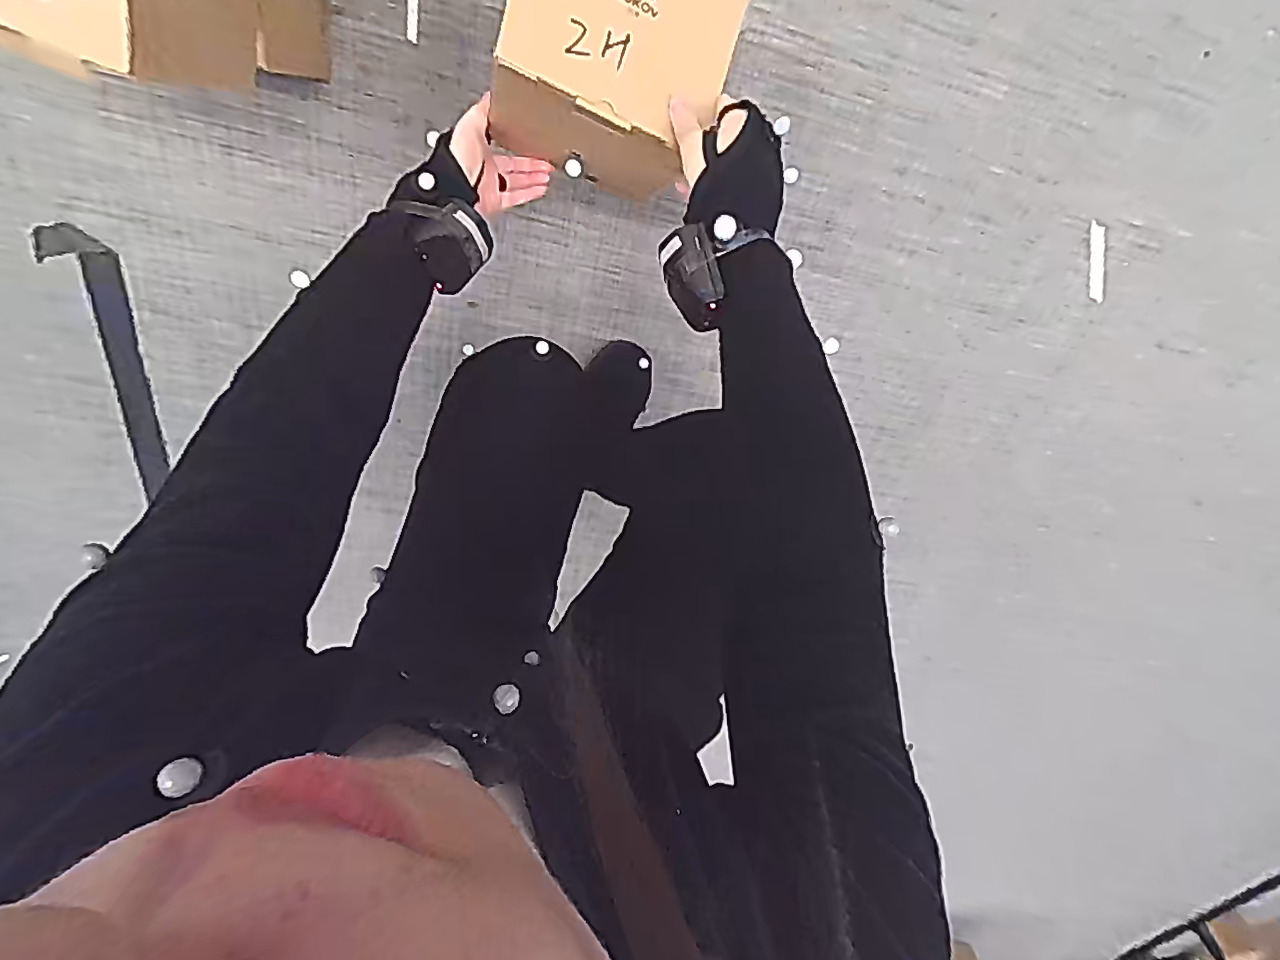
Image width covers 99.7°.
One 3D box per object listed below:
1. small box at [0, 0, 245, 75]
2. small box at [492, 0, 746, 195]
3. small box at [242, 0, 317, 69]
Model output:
[{"bbox_3d":[-0.395,-0.406,0.363,0.168,0.176,0.179,15,121,-16],"label":"small box"},{"bbox_3d":[-0.025,-0.378,0.461,0.168,0.176,0.179,15,100,-20],"label":"small box"},{"bbox_3d":[-0.414,-0.504,0.495,0.179,0.176,0.168,10,122,-15],"label":"small box"}]
